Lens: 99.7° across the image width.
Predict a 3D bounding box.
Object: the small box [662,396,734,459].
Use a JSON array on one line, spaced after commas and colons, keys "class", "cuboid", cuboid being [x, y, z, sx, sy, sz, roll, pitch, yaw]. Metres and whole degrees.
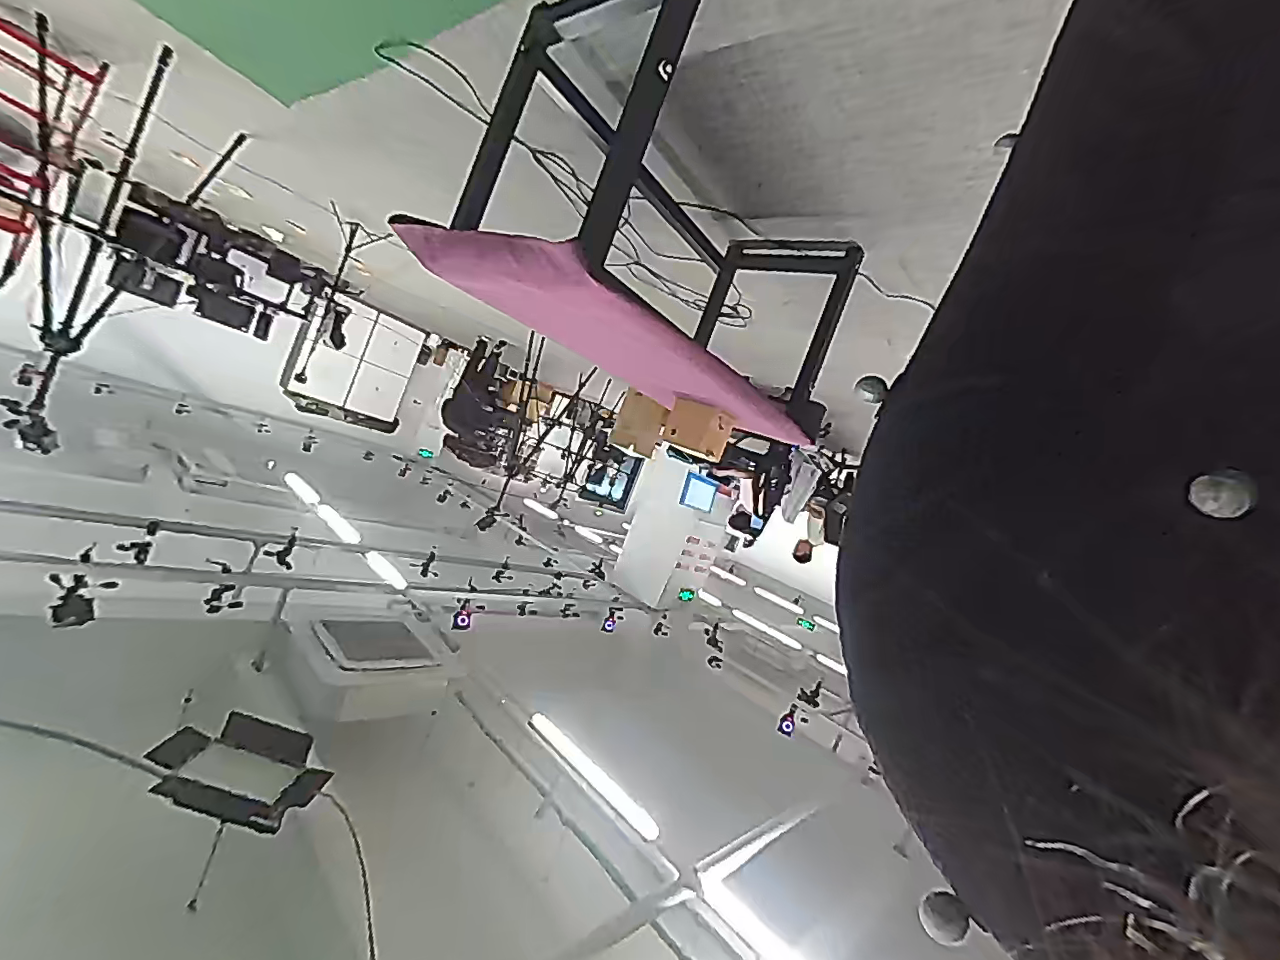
[{"class": "small box", "cuboid": [0.216, -0.197, 1.986, 0.179, 0.176, 0.168, 22, -179, 38]}]
